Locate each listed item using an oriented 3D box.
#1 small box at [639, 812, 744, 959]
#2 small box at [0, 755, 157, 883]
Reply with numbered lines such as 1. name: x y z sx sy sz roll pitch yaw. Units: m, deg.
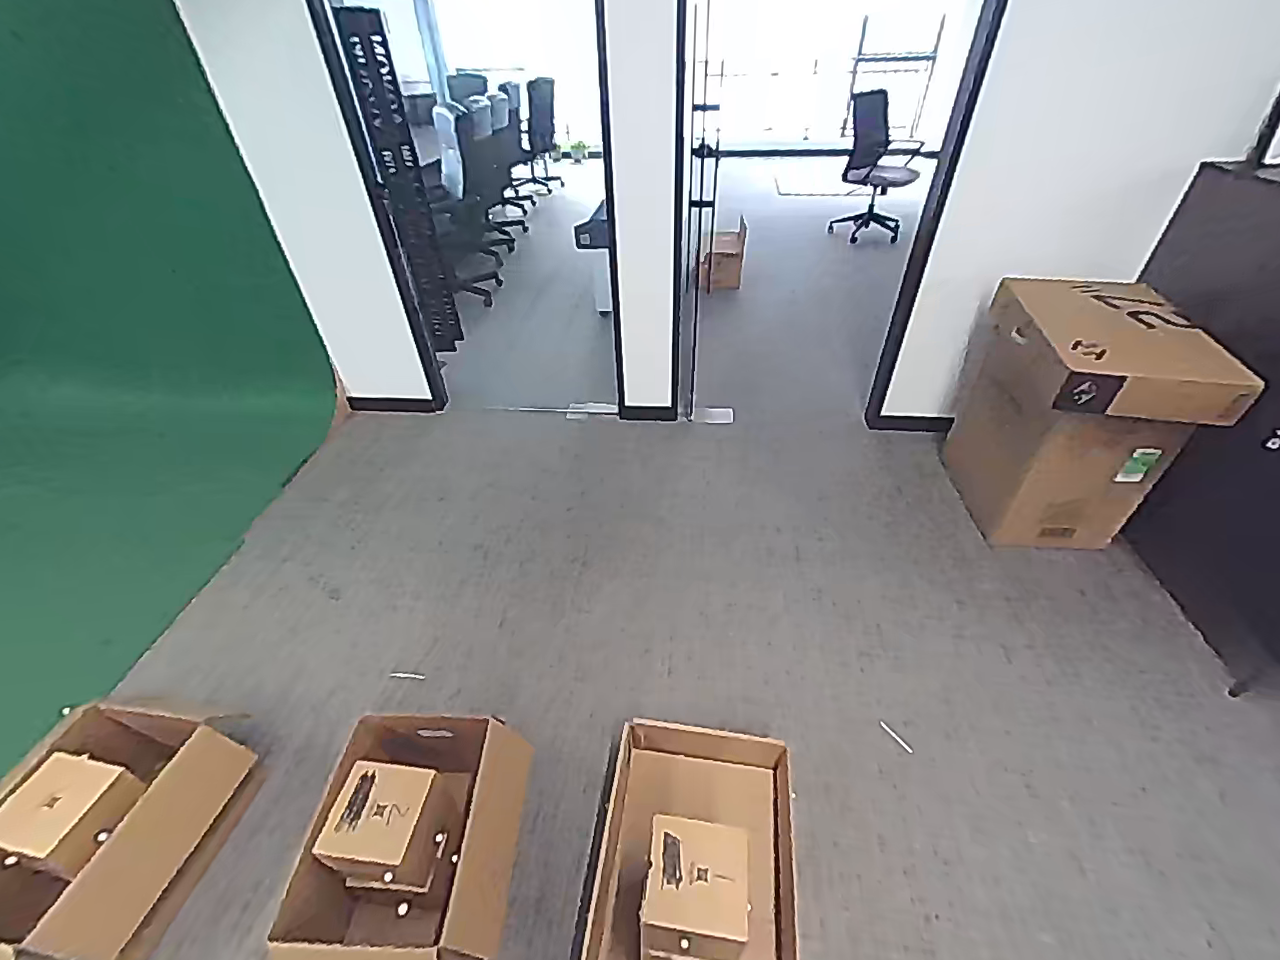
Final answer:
1. small box: 0.094 0.741 0.989 0.179 0.176 0.168 6 38 6
2. small box: -1.169 0.699 1.112 0.179 0.176 0.168 7 40 8
